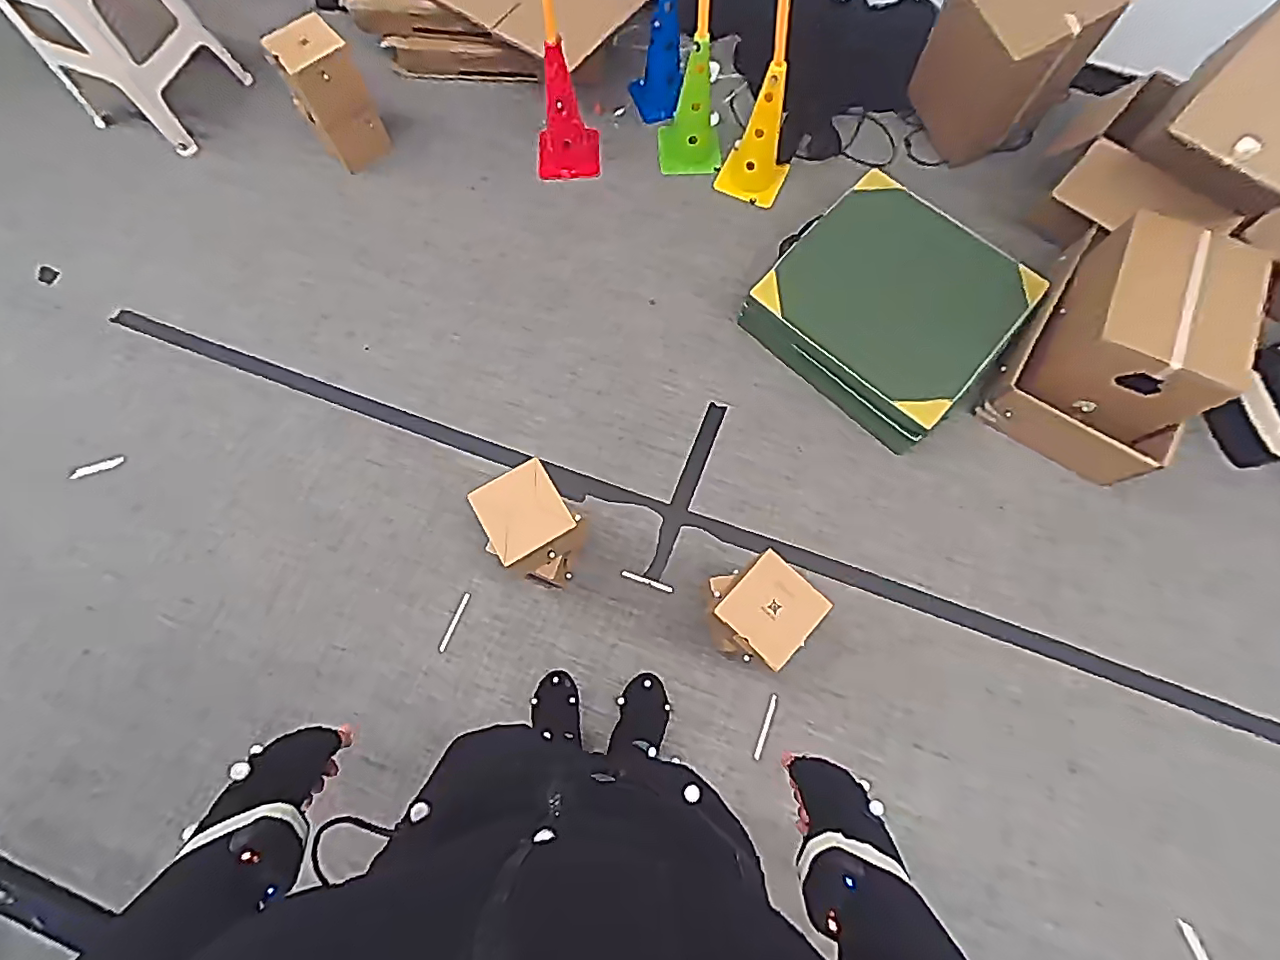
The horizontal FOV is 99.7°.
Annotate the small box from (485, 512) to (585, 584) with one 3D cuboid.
[{"bbox_3d":[-0.249,0.148,1.341,0.179,0.176,0.168,22,74,7],"label":"small box"}]

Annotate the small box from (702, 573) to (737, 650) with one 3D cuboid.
[{"bbox_3d":[0.249,0.312,1.297,0.179,0.176,0.168,-8,75,-3],"label":"small box"}]

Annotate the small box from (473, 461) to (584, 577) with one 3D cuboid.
[{"bbox_3d":[-0.243,0.088,1.184,0.168,0.176,0.179,-30,75,-10],"label":"small box"}]

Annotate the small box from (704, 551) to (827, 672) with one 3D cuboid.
[{"bbox_3d":[0.252,0.277,1.137,0.168,0.176,0.179,44,77,9],"label":"small box"}]
